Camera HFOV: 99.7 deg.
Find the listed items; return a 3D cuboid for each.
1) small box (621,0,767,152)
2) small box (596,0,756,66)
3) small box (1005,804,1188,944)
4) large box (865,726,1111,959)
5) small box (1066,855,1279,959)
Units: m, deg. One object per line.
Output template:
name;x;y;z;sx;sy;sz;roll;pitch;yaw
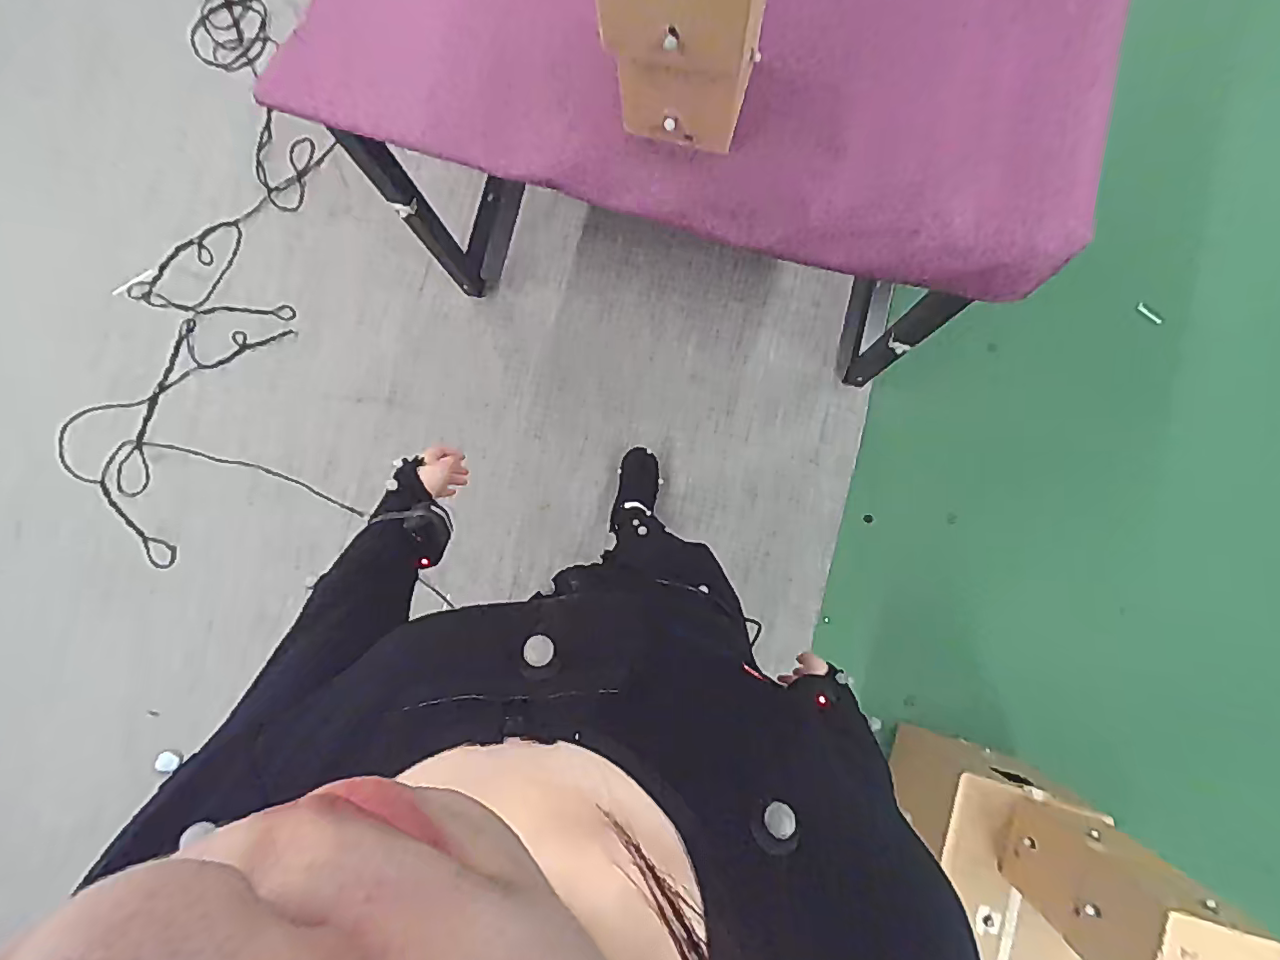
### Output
small box;0.073;-0.601;0.743;0.168;0.176;0.179;16;86;5
small box;0.051;-0.593;0.578;0.179;0.176;0.168;13;85;4
small box;0.826;0.735;0.994;0.179;0.176;0.168;16;86;4
large box;0.758;0.846;1.230;0.320;0.320;0.408;16;86;5
small box;0.815;0.722;0.830;0.179;0.176;0.168;15;85;4
